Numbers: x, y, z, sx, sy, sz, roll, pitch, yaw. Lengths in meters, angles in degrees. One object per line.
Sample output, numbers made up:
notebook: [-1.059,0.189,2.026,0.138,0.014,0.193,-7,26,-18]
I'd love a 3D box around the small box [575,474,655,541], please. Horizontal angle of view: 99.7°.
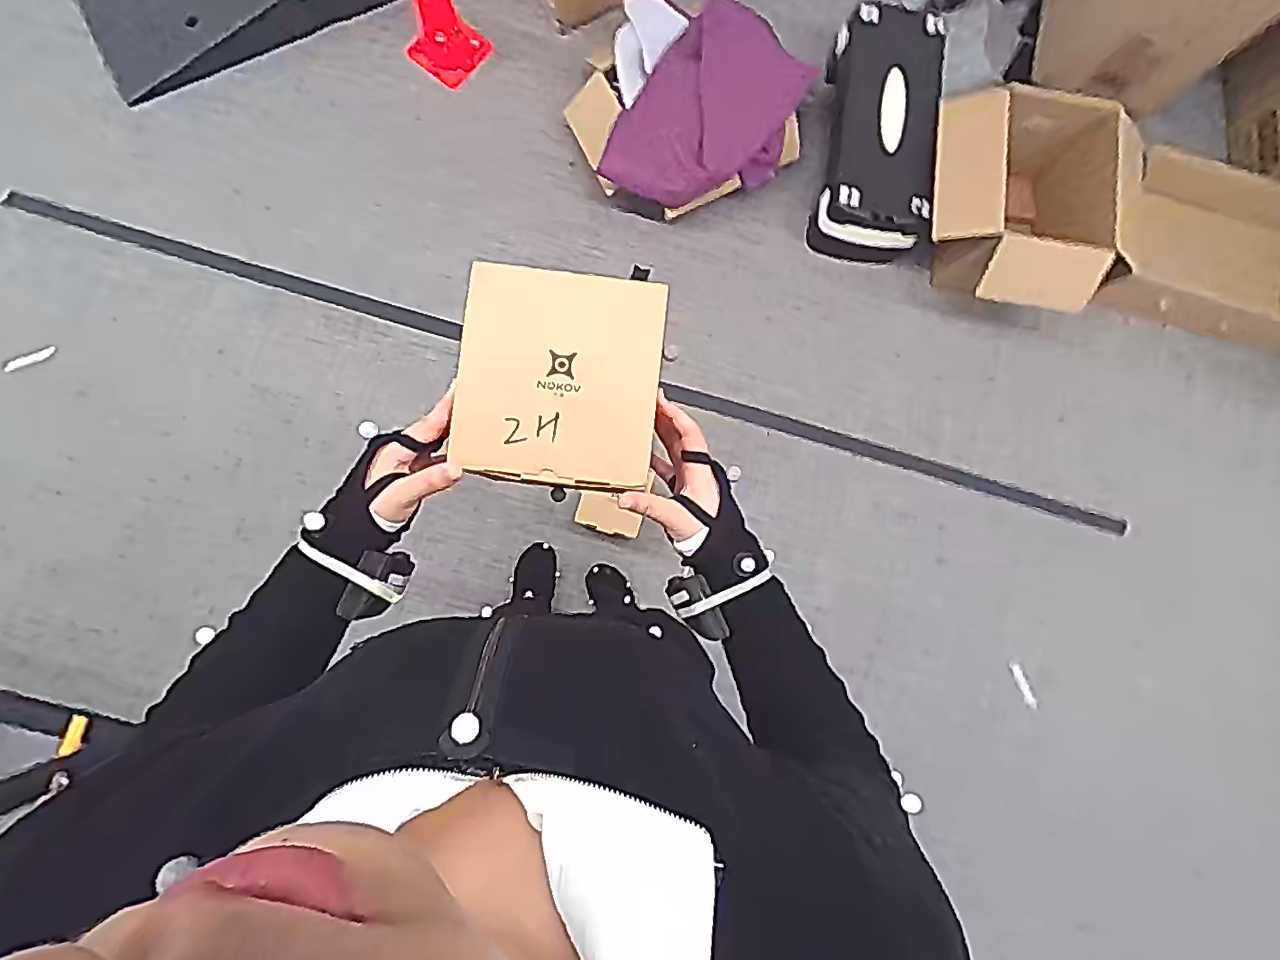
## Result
small box: [-0.064,0.057,1.441,0.168,0.176,0.179,17,84,-1]

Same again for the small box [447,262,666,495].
small box: [-0.071,-0.082,0.526,0.168,0.176,0.179,6,86,-2]
